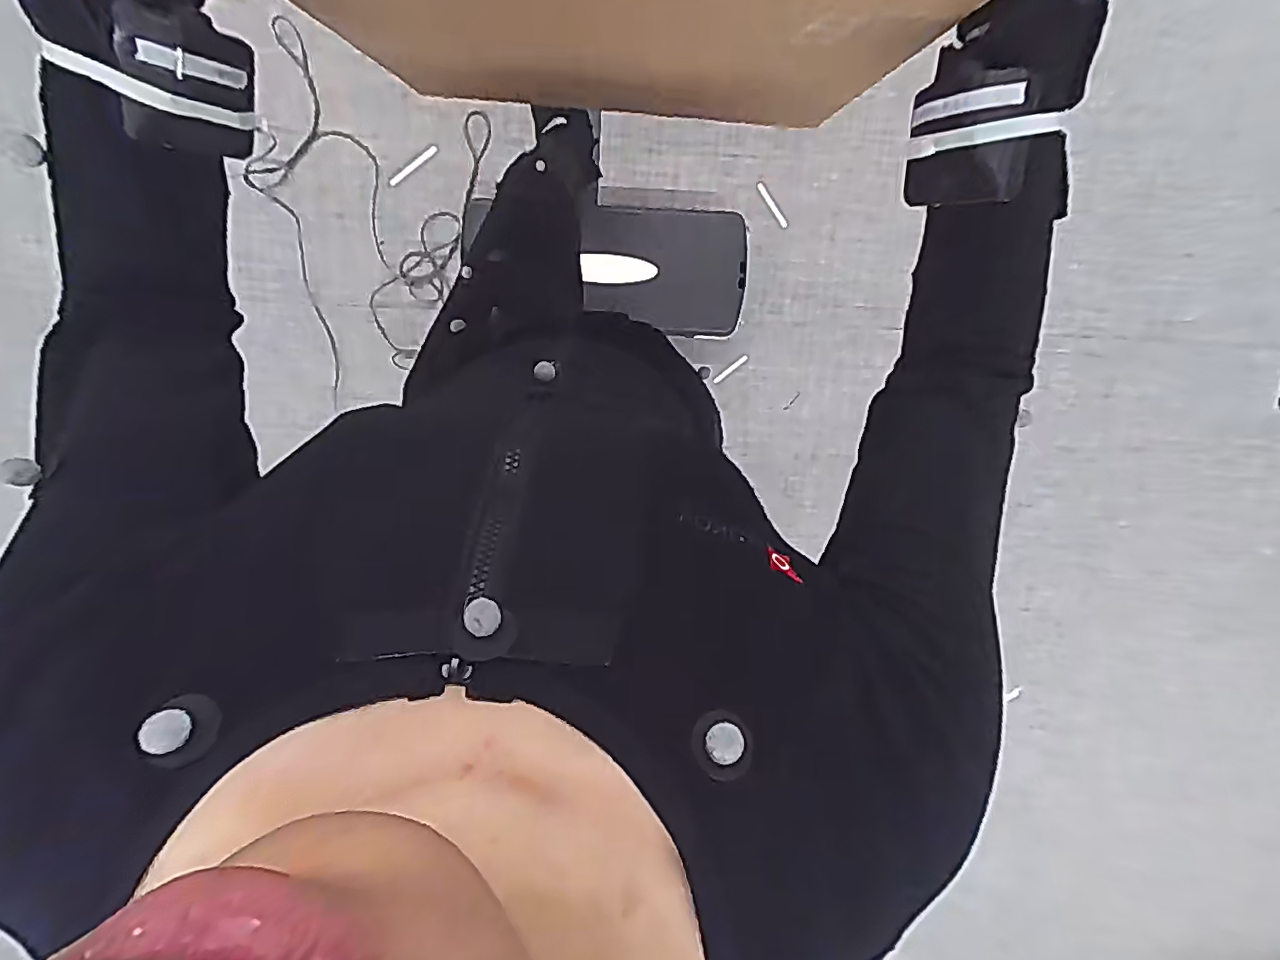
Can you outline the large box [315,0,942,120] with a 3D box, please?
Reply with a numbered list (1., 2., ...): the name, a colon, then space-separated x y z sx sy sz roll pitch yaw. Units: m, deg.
1. large box: -0.012 -0.463 0.355 0.408 0.320 0.320 3 112 -2
